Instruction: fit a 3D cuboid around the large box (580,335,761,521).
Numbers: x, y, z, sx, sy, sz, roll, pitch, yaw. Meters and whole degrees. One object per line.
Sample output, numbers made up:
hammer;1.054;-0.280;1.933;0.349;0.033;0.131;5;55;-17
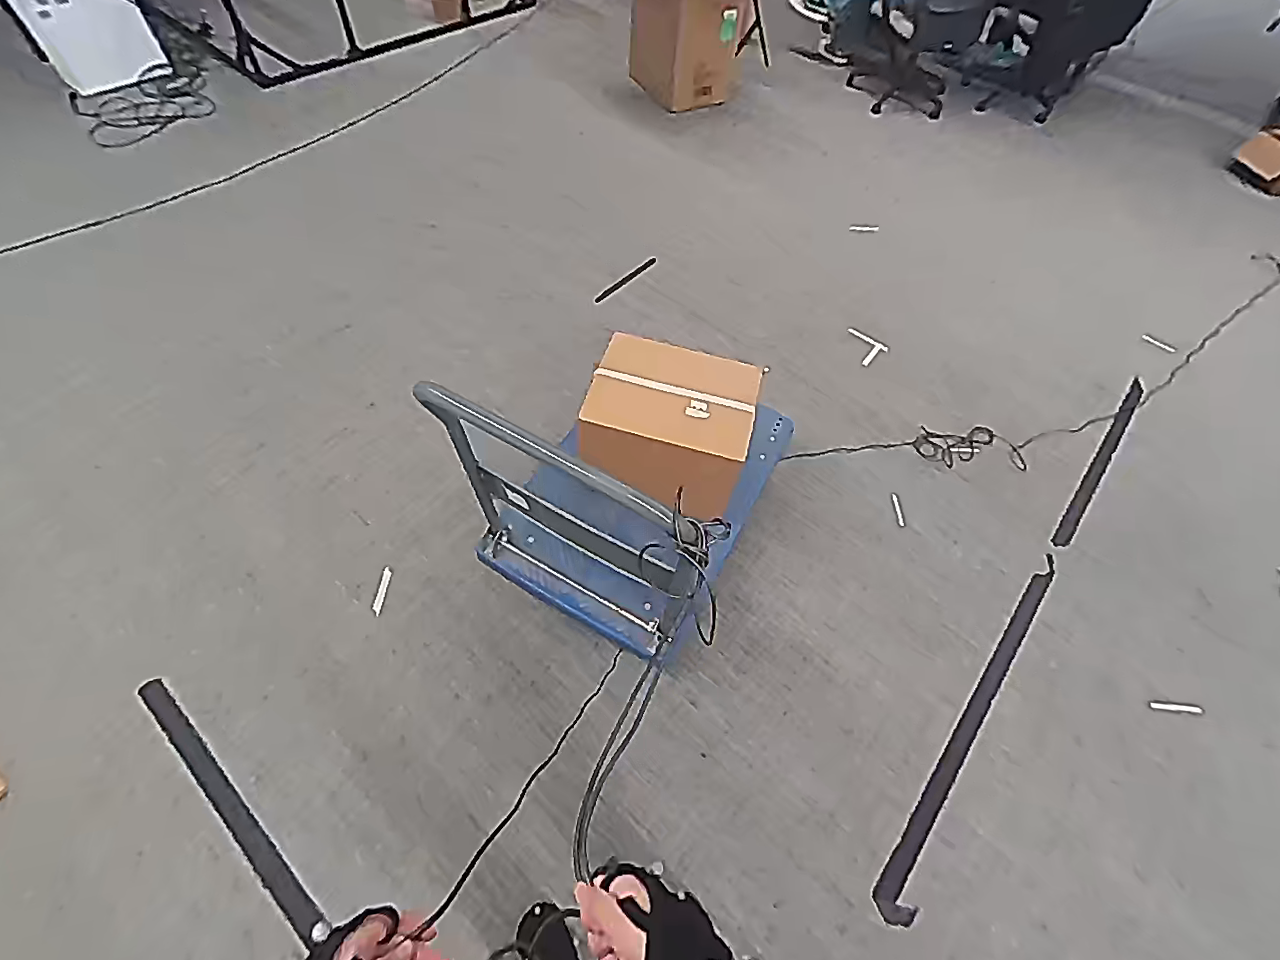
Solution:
large box;0.072;-0.132;1.451;0.408;0.320;0.320;15;58;4
